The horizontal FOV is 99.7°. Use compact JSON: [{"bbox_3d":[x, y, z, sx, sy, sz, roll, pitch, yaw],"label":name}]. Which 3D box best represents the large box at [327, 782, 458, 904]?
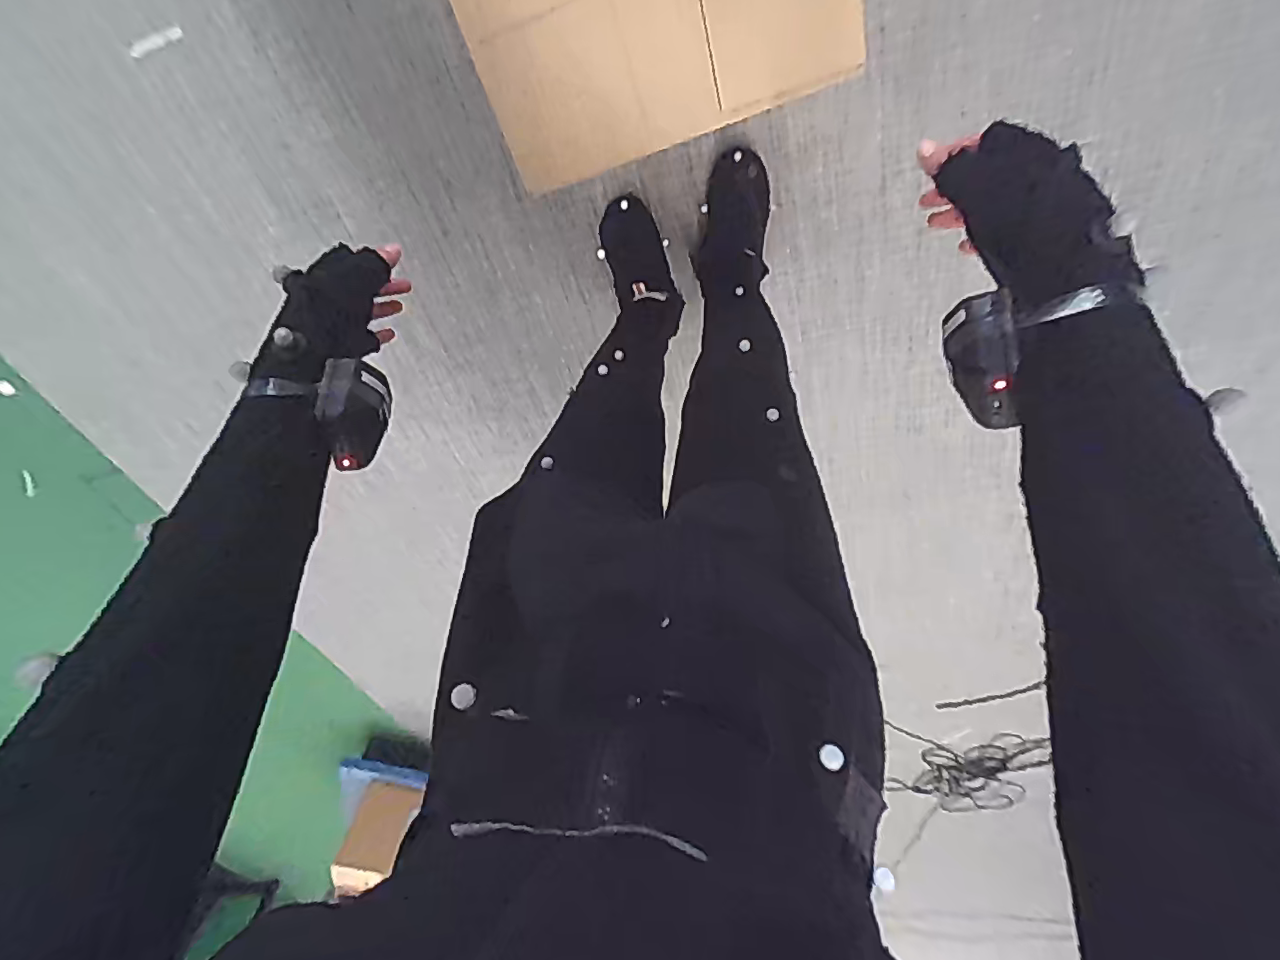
[{"bbox_3d":[-1.012,1.506,2.243,0.408,0.320,0.320,19,130,-9],"label":"large box"}]
